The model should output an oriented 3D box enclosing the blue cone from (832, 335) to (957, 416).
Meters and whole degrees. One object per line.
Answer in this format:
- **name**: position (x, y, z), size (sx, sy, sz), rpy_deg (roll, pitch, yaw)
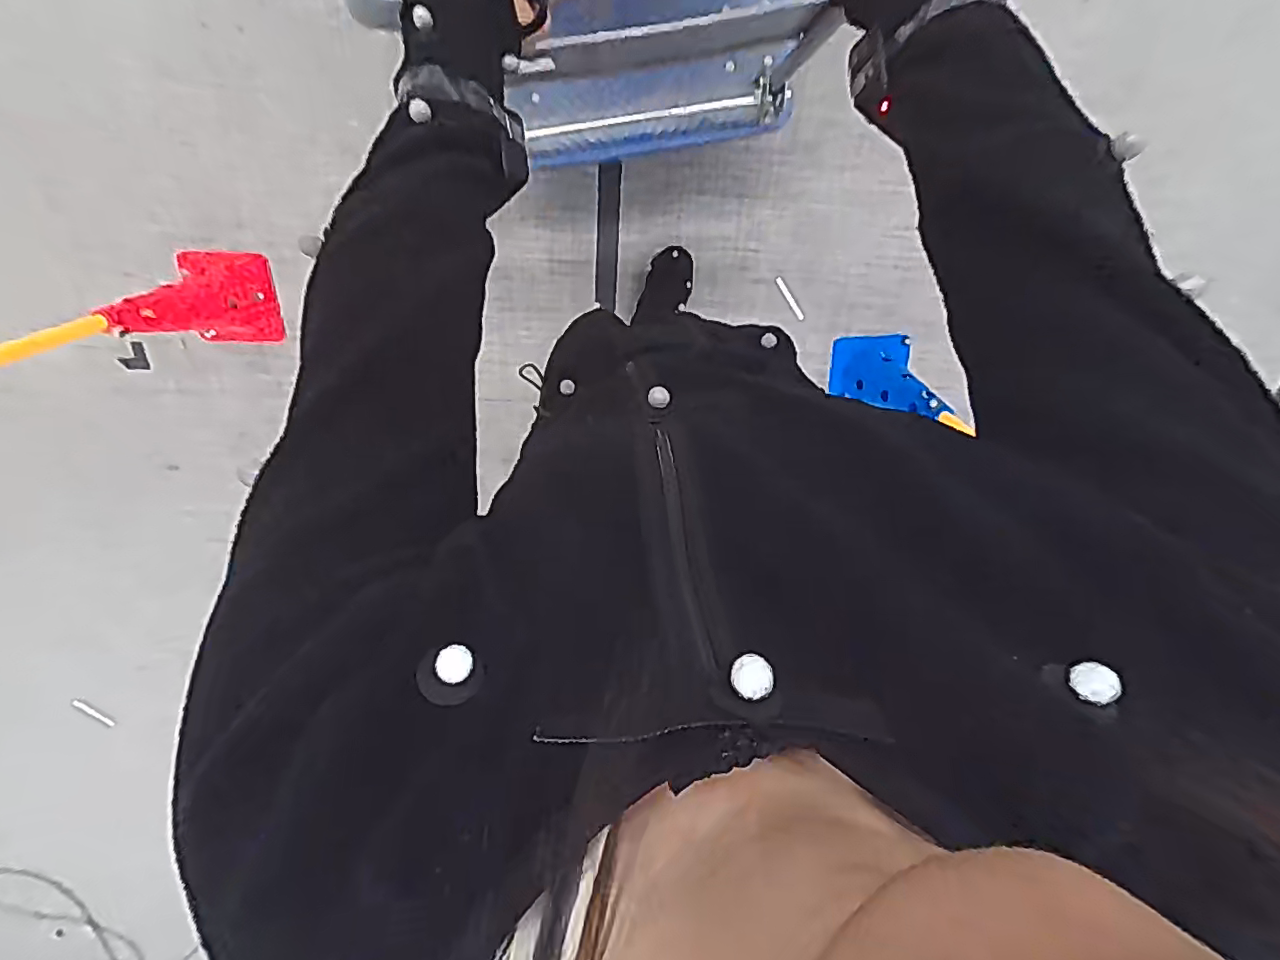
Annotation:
- **blue cone**: position (0.600, -0.208, 1.240), size (0.193, 0.380, 0.192), rpy_deg (-2, 114, -2)
